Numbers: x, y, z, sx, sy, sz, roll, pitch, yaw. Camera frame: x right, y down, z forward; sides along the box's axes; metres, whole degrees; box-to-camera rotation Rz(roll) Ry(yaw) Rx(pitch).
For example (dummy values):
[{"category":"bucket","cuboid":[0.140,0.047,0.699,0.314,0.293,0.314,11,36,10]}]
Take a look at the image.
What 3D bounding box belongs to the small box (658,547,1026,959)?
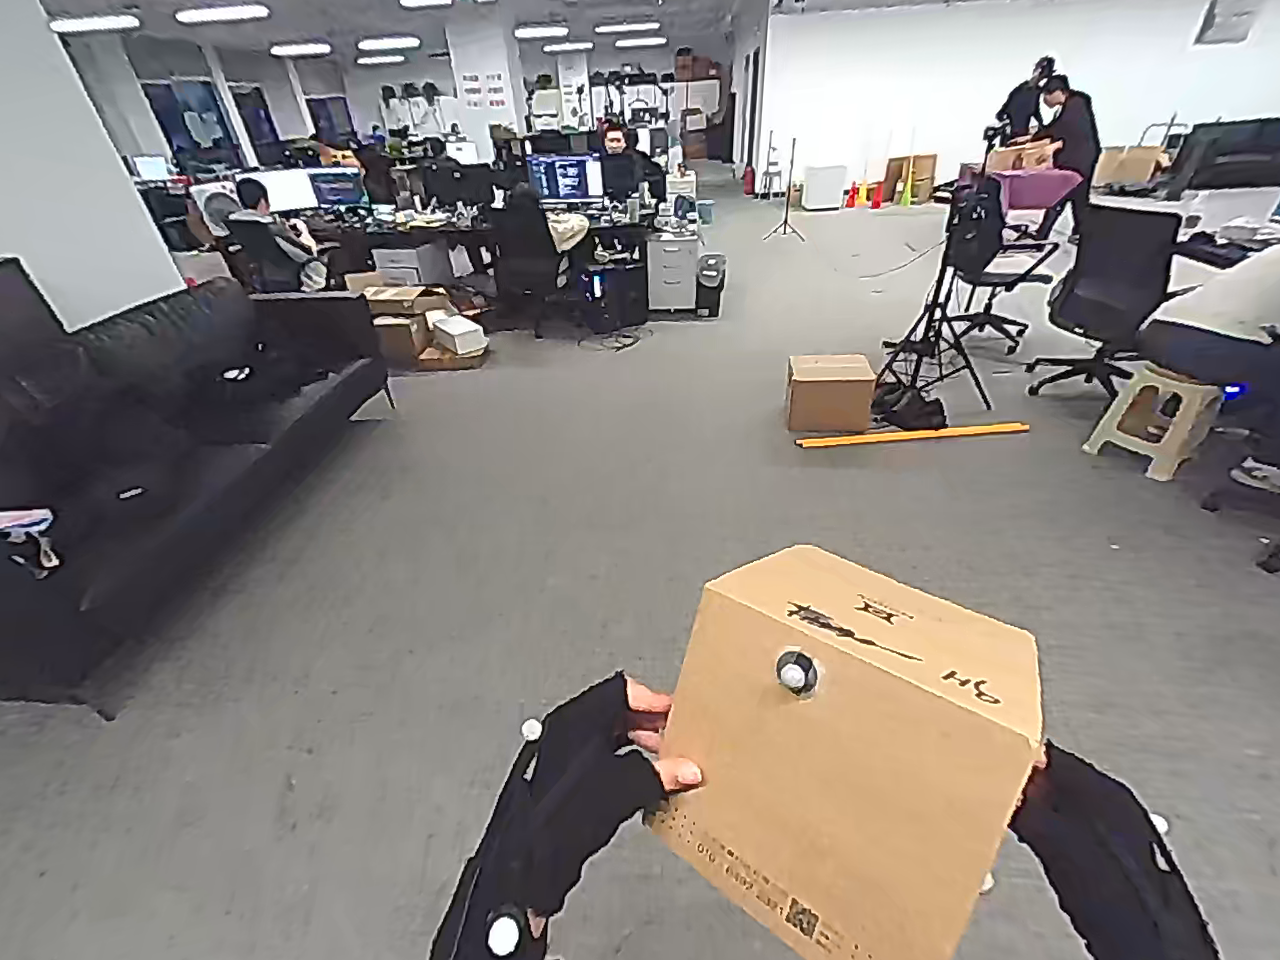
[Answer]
[{"category":"small box","cuboid":[0.132,0.160,0.361,0.168,0.176,0.179,20,12,34]}]
